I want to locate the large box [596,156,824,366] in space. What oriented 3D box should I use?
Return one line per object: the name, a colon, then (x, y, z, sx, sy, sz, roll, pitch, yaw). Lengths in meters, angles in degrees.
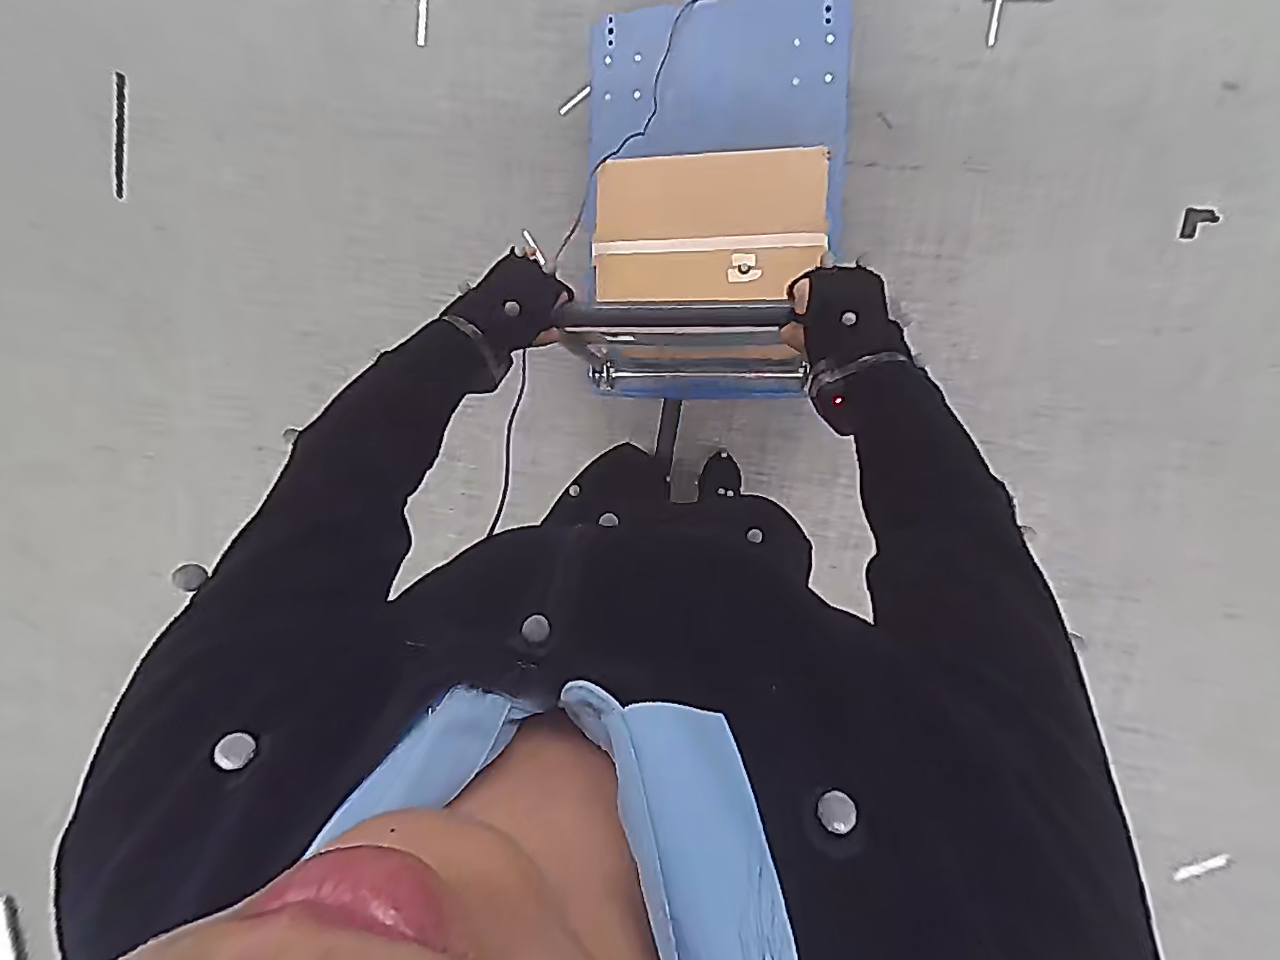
large box: (0.136, -0.412, 1.104, 0.408, 0.320, 0.320, 2, 95, 9)
